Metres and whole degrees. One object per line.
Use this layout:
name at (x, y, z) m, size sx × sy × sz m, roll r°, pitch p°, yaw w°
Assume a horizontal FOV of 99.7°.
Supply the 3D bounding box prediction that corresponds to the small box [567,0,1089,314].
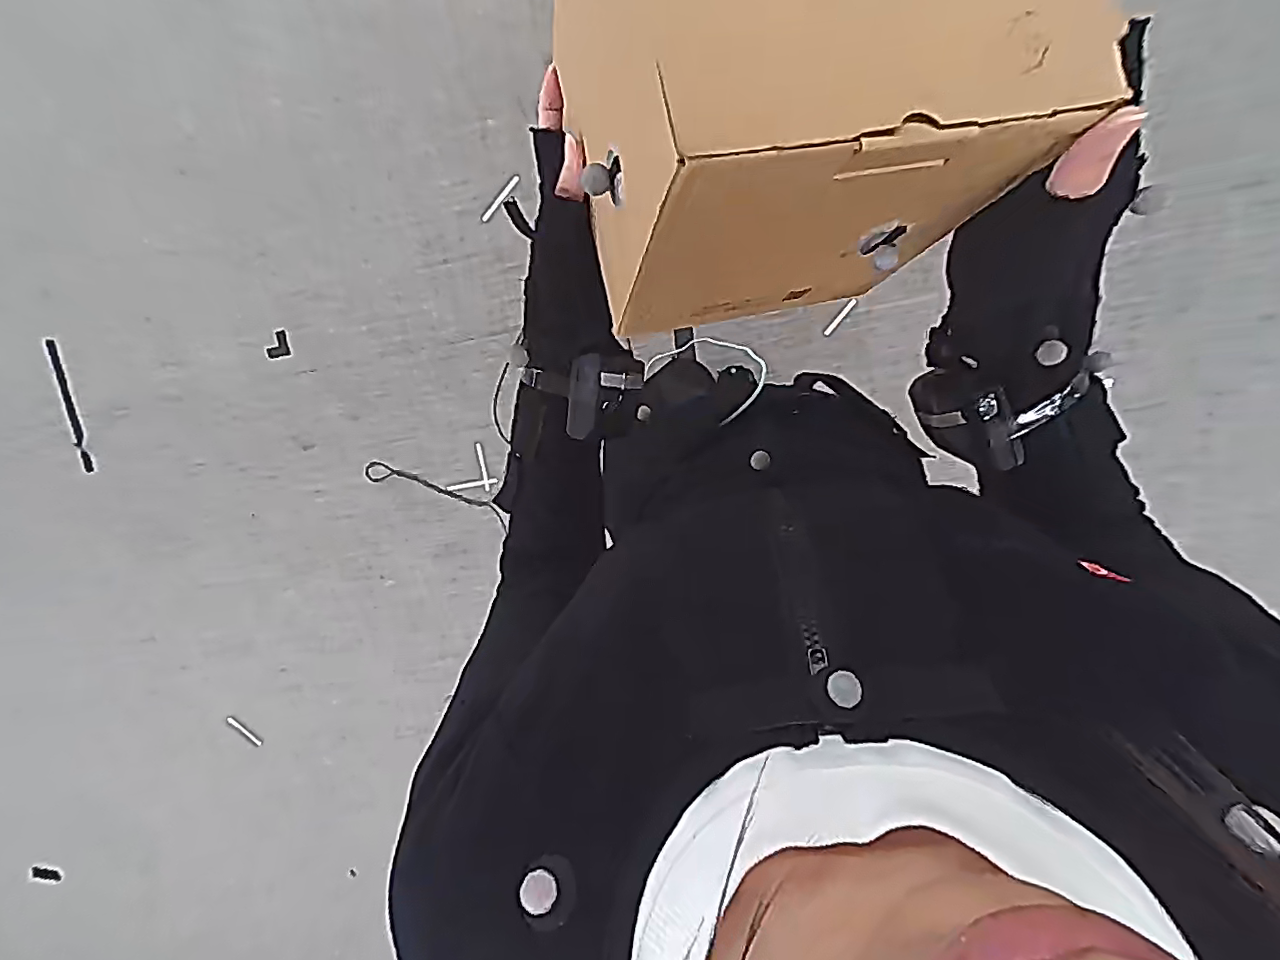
small box at (0.060, -0.197, 0.271) m, size 0.168 × 0.176 × 0.179 m, roll -12°, pitch 88°, yaw -9°
